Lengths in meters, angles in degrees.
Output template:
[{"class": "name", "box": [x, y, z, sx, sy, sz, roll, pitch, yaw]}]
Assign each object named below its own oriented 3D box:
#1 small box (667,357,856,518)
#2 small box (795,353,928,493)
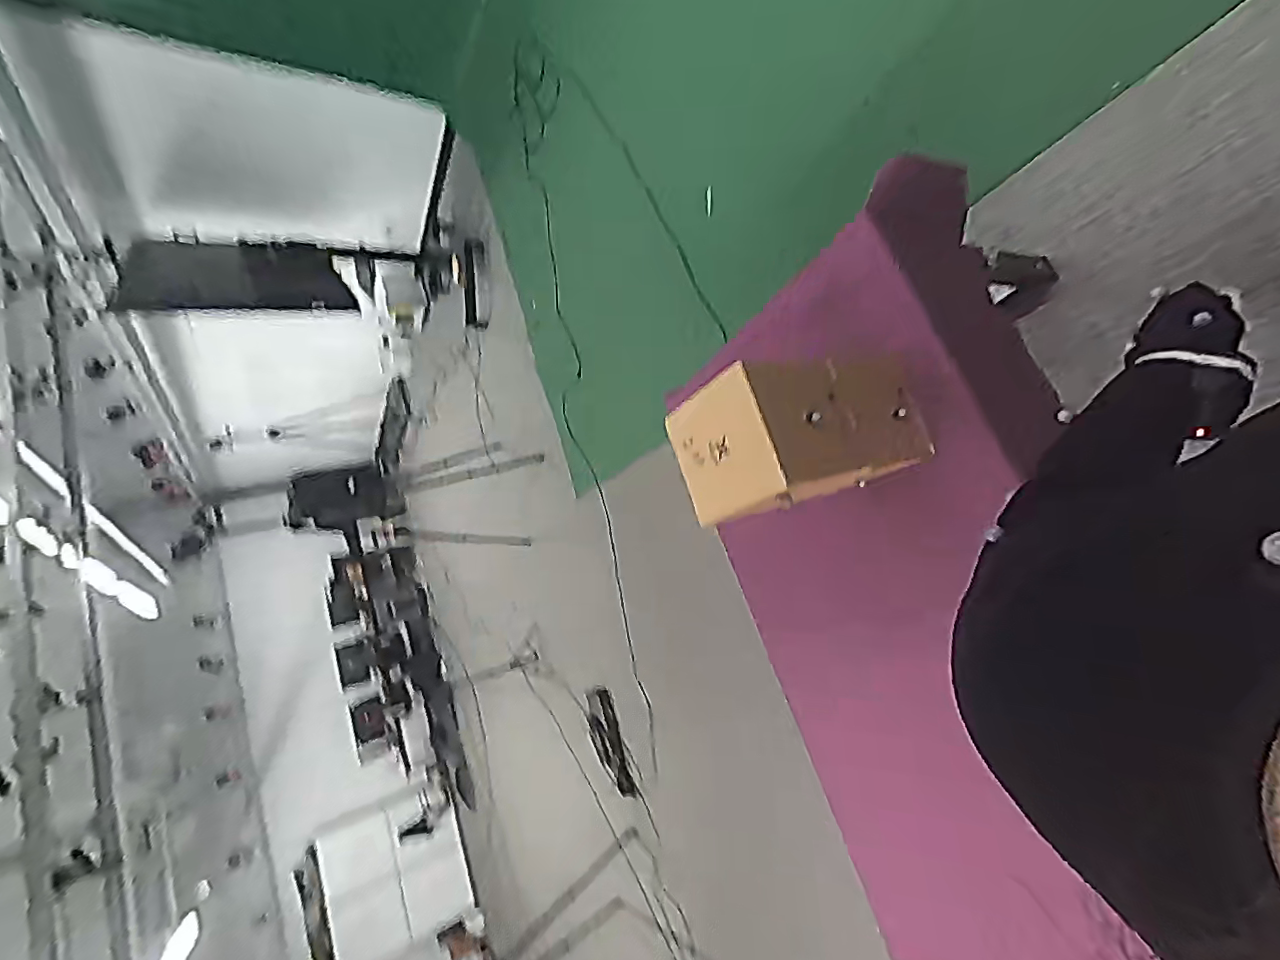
[{"class": "small box", "box": [0.171, -0.061, 0.754, 0.179, 0.176, 0.168, -34, 71, 54]}, {"class": "small box", "box": [0.306, -0.085, 0.847, 0.179, 0.176, 0.168, -32, 73, 54]}]
